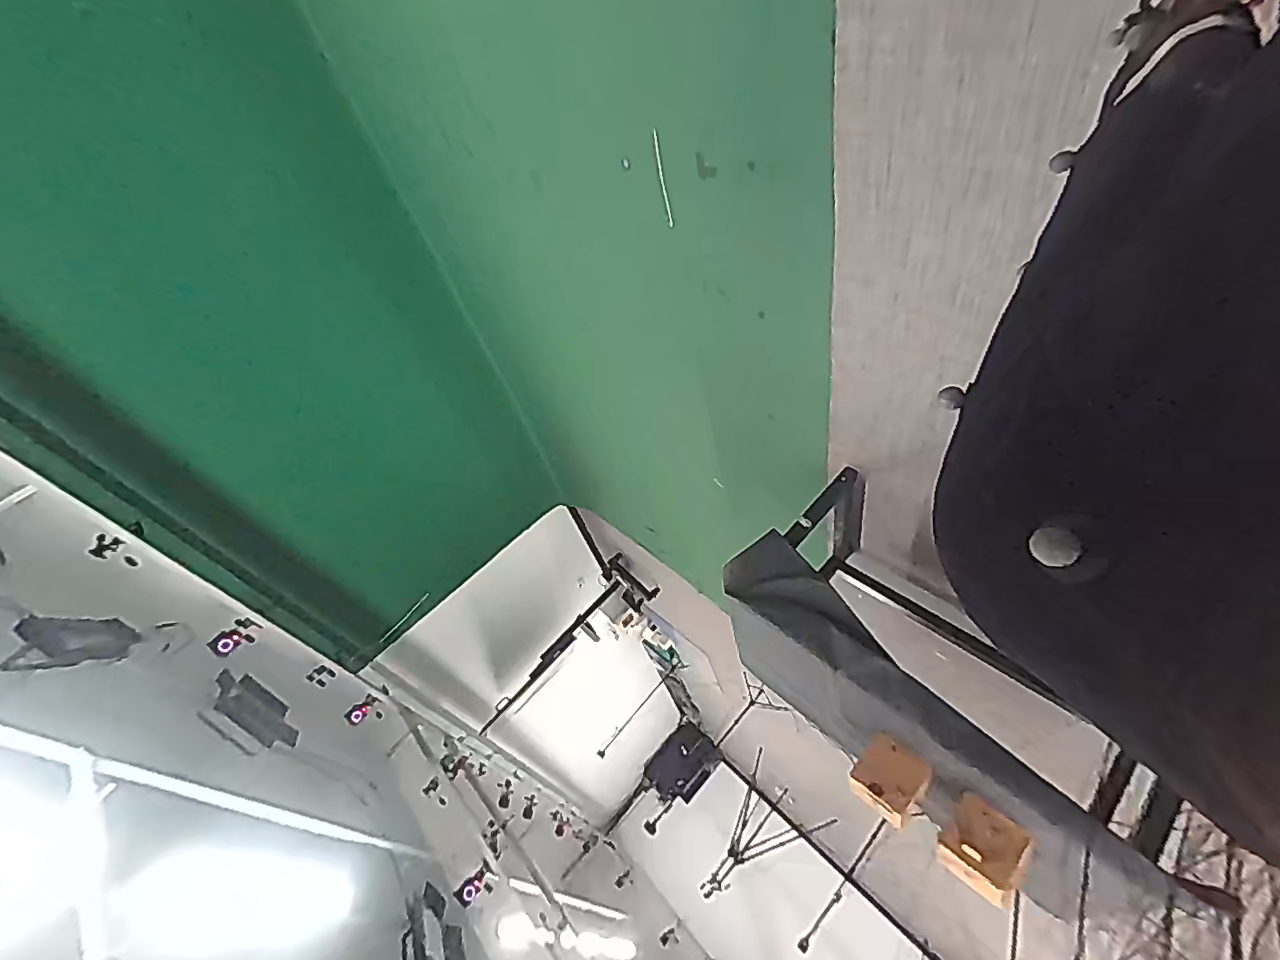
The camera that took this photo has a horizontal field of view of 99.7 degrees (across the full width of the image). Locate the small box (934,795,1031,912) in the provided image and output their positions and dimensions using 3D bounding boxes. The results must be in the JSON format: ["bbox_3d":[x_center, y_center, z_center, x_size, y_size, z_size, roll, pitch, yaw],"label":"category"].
[{"bbox_3d":[0.920,0.997,1.453,0.168,0.176,0.179,25,149,48],"label":"small box"}]
